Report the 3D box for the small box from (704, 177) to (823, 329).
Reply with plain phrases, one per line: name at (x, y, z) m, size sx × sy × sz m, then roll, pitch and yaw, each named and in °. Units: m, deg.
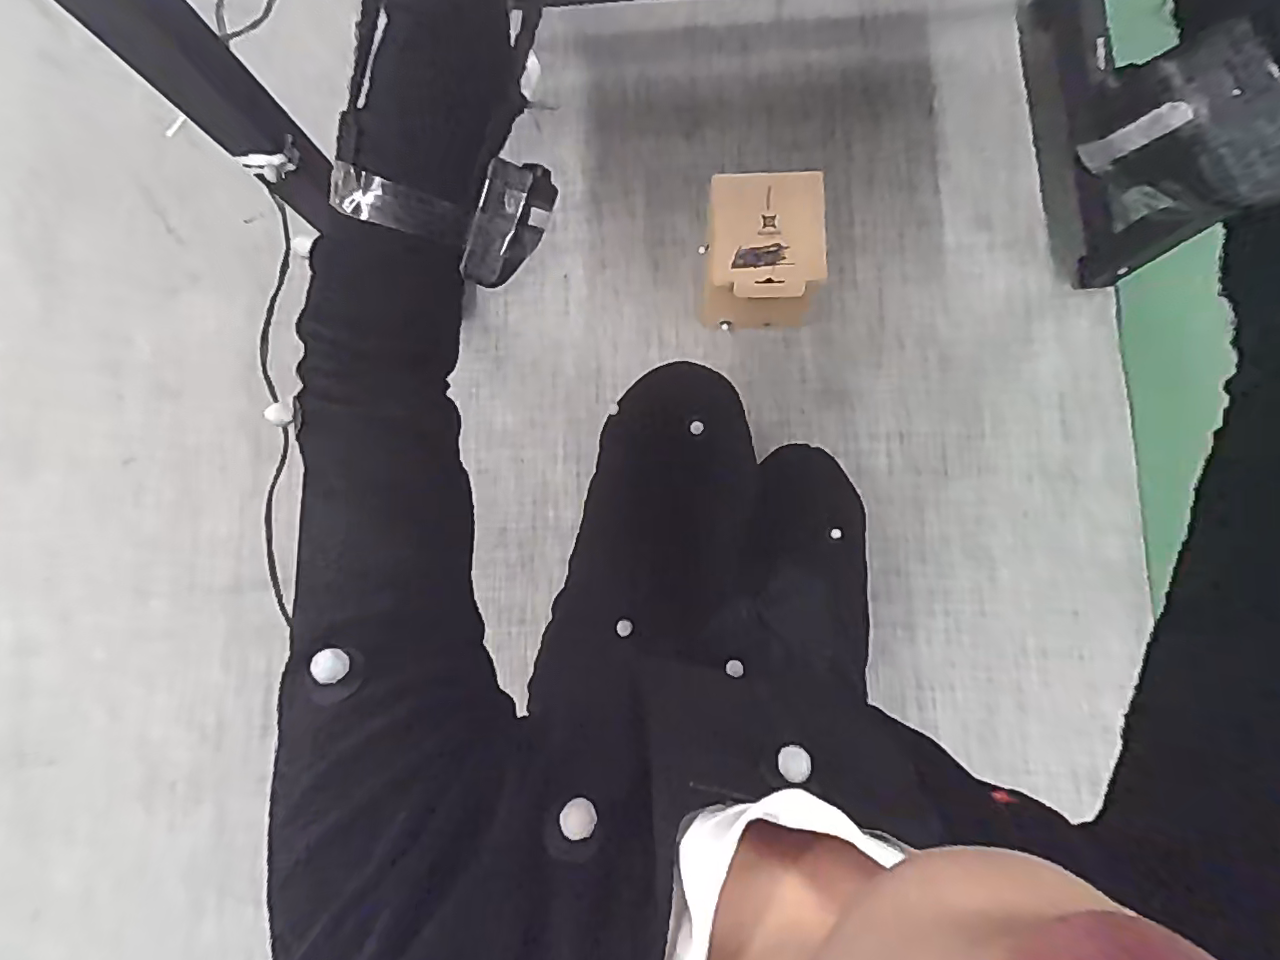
small box at (0.192, -0.355, 0.876) m, size 0.168 × 0.176 × 0.179 m, roll 1°, pitch 82°, yaw 3°
